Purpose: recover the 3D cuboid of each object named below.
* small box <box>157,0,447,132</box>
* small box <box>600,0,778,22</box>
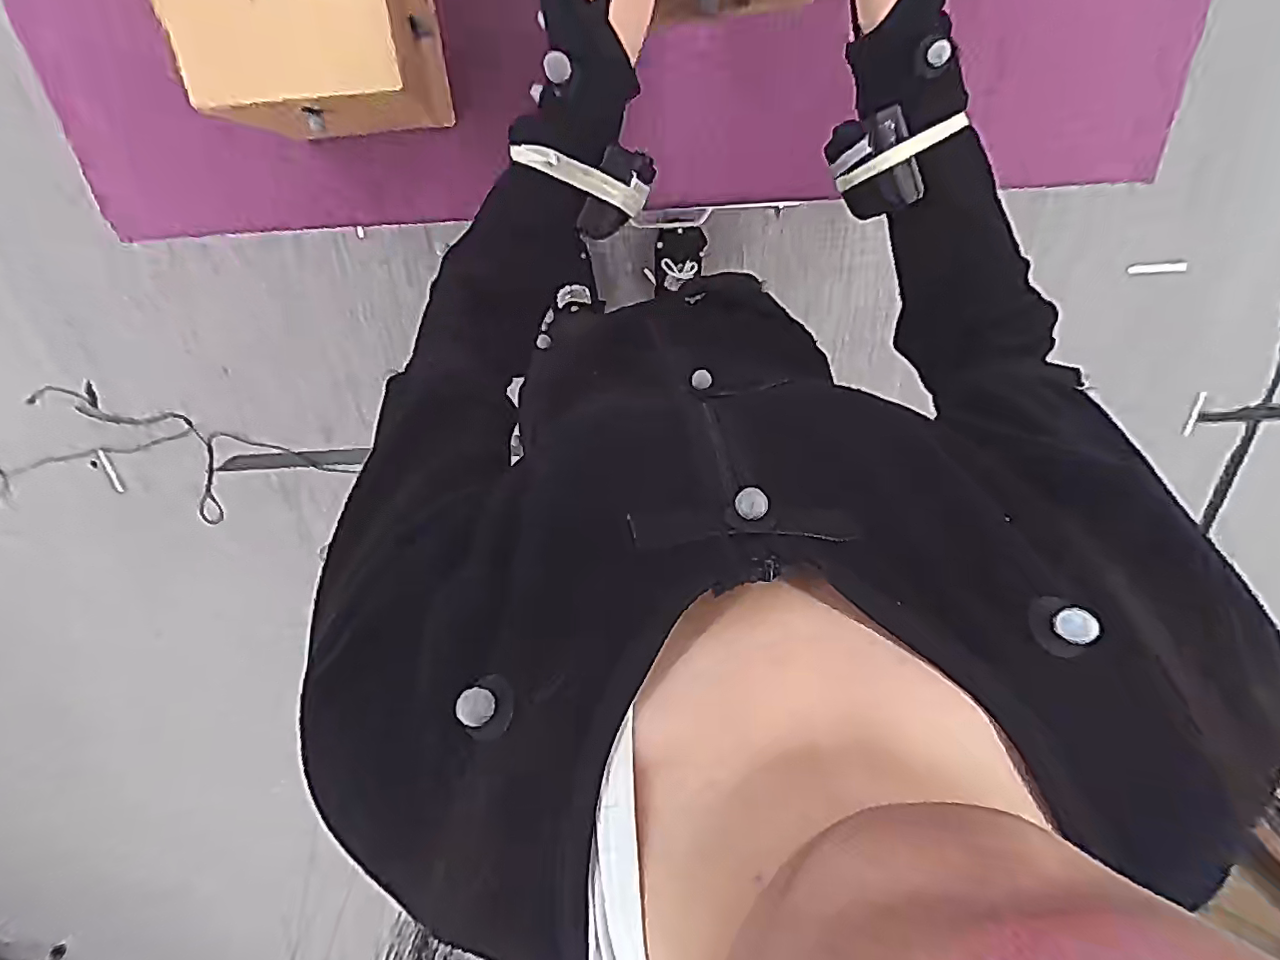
[{"bbox_3d":[-0.286,-0.419,0.478,0.179,0.176,0.168,-5,116,0],"label":"small box"},{"bbox_3d":[0.035,-0.441,0.337,0.168,0.176,0.179,-5,106,3],"label":"small box"}]
